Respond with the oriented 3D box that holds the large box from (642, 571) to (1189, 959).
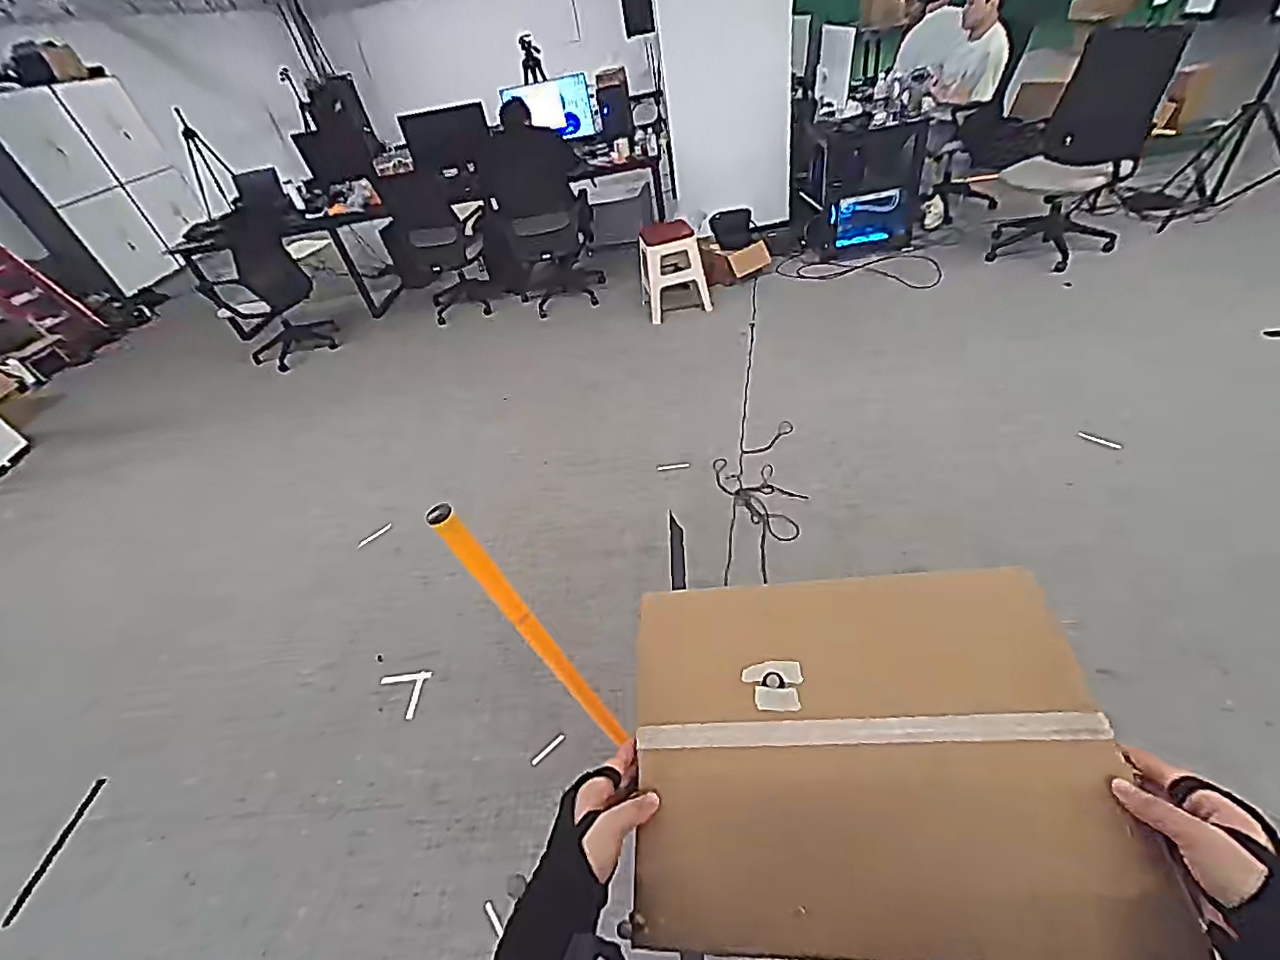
[{"bbox_3d":[0.233,0.330,0.619,0.408,0.320,0.320,-7,49,11],"label":"large box"}]
